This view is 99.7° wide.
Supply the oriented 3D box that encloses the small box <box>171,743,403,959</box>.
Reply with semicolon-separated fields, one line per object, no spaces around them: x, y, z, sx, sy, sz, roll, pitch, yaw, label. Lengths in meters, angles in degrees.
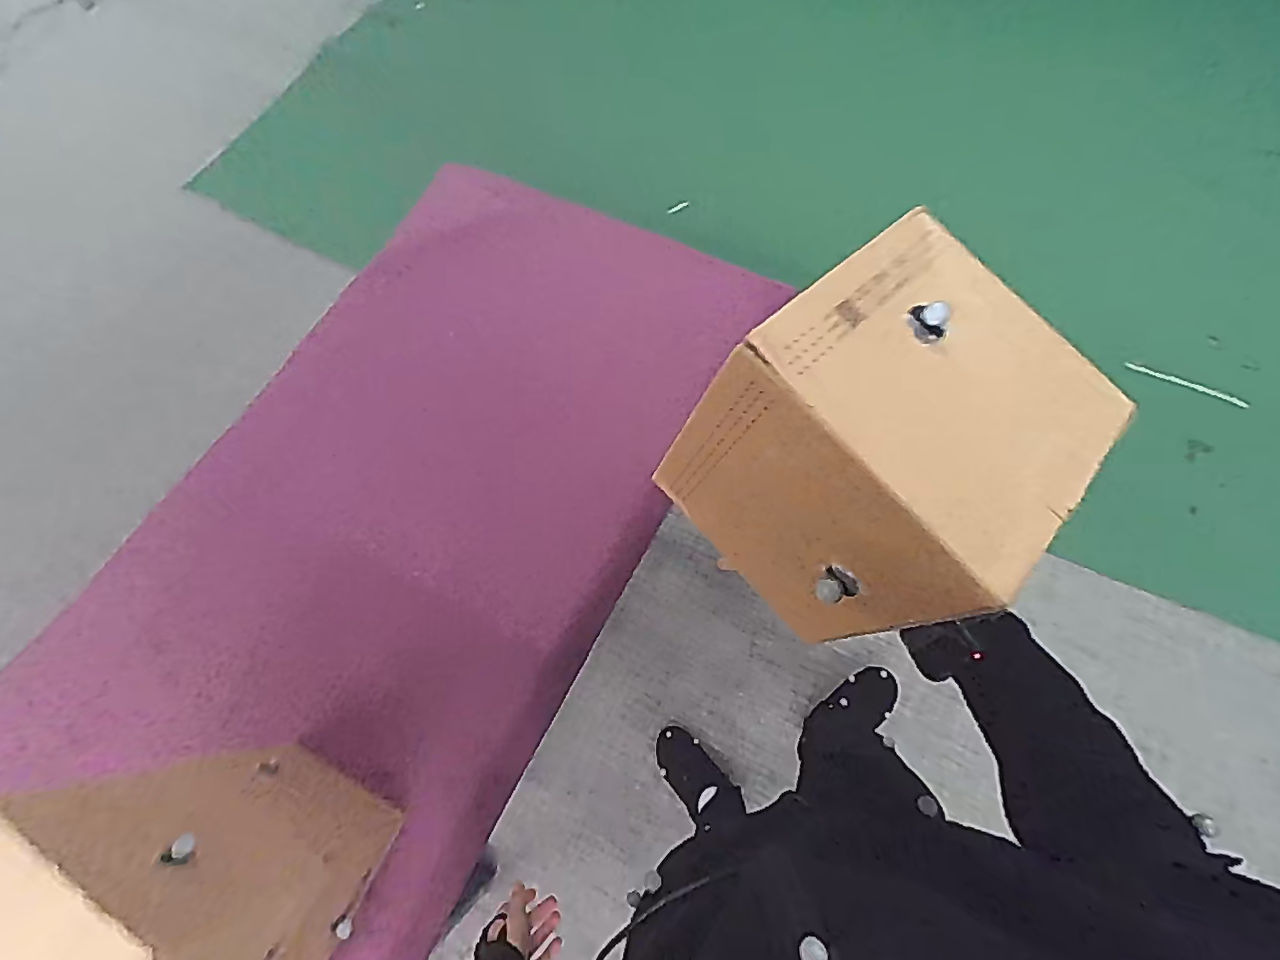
-0.383;0.383;0.539;0.179;0.176;0.168;24;73;11;small box
